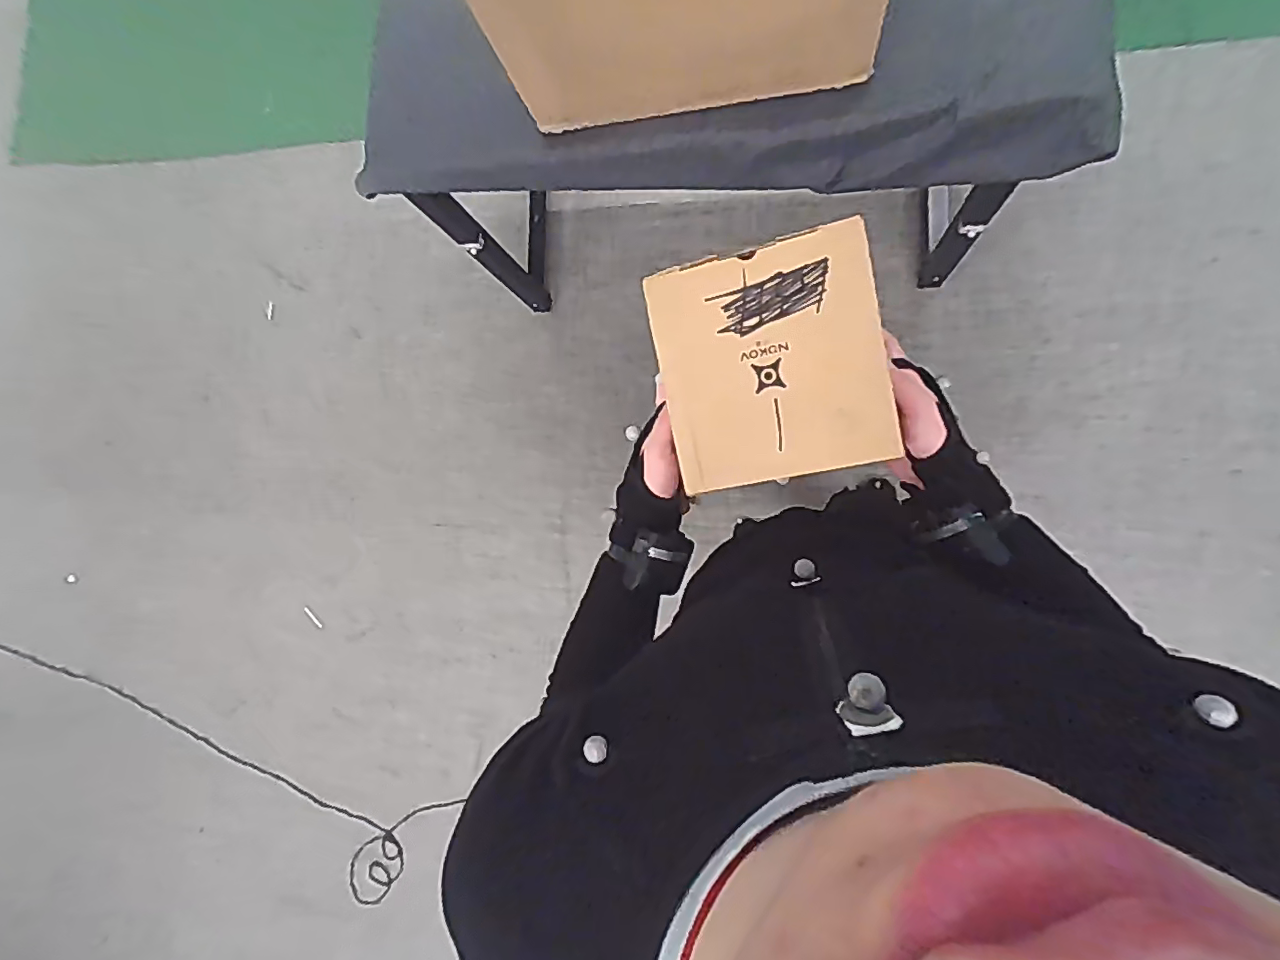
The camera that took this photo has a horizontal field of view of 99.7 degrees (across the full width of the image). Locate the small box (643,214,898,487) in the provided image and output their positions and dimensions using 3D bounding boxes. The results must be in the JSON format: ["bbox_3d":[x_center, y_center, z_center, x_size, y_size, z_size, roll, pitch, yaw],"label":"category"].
[{"bbox_3d":[0.113,-0.099,0.483,0.168,0.176,0.179,-11,94,16],"label":"small box"}]
